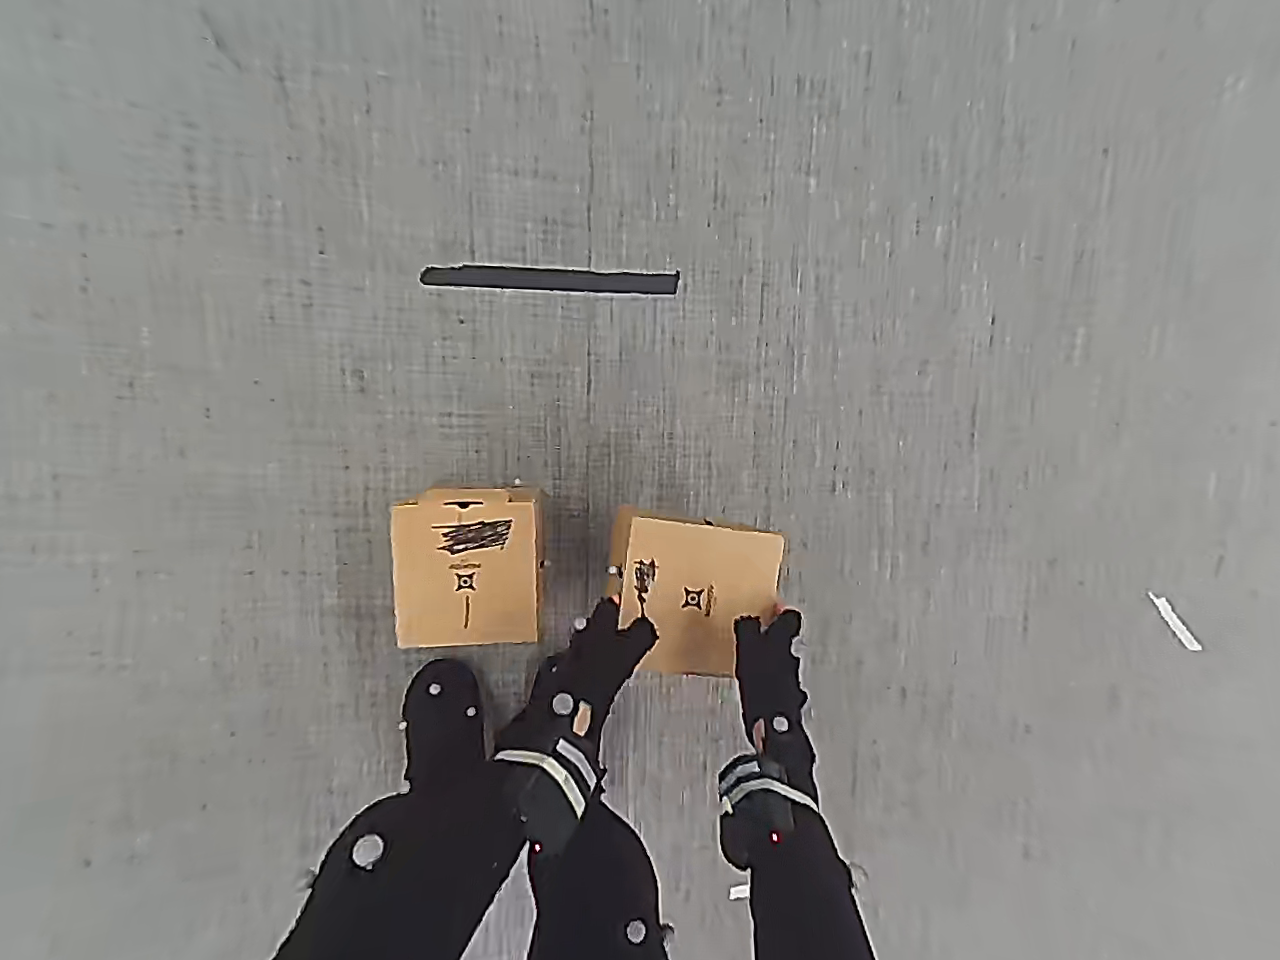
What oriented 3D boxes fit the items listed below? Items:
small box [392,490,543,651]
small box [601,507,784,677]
[{"bbox_3d":[-0.215,0.106,0.712,0.168,0.176,0.179,0,96,-8],"label":"small box"},{"bbox_3d":[0.053,0.127,0.669,0.179,0.176,0.168,7,90,-9],"label":"small box"}]
